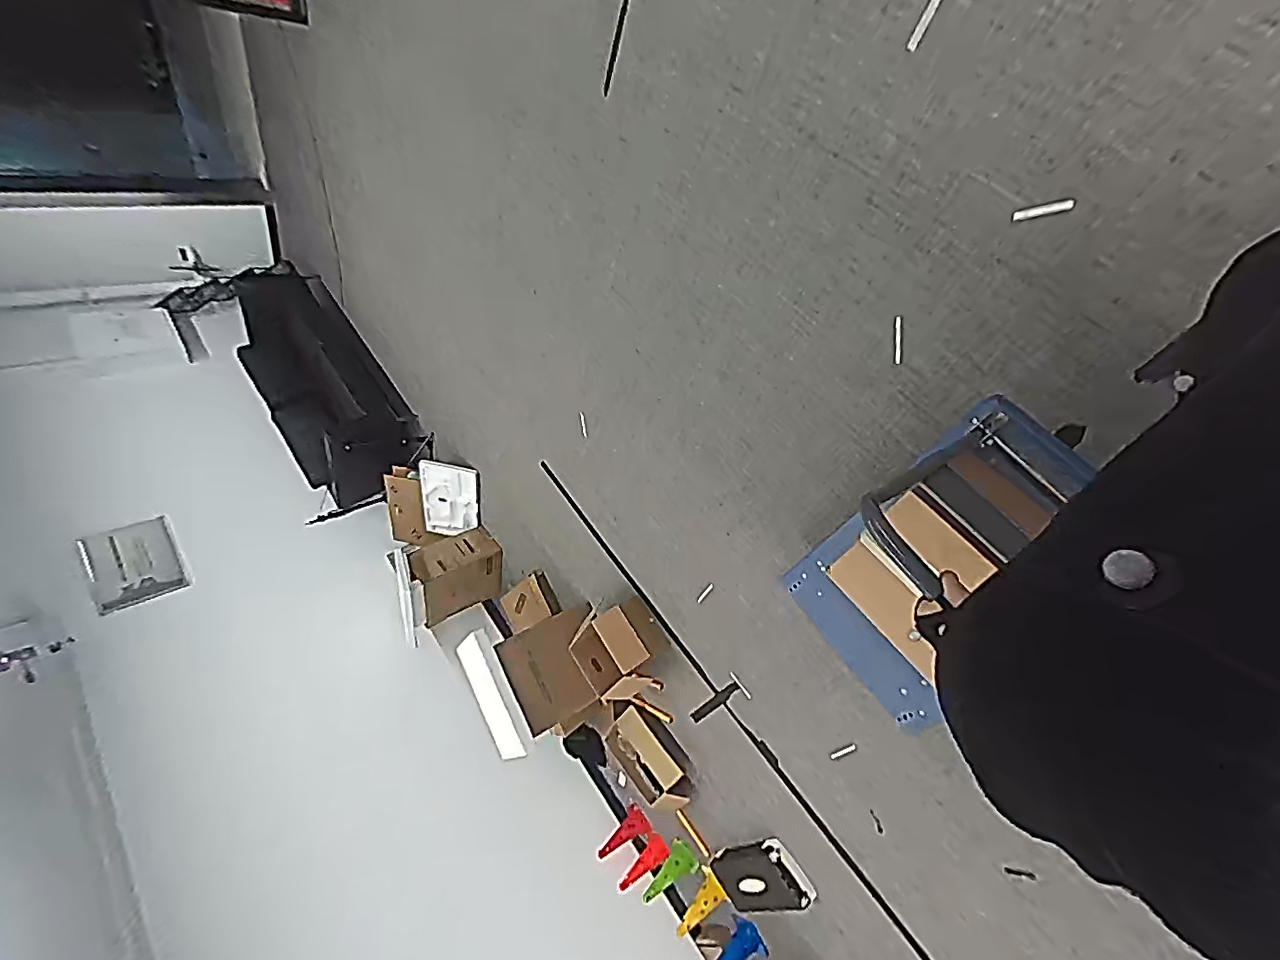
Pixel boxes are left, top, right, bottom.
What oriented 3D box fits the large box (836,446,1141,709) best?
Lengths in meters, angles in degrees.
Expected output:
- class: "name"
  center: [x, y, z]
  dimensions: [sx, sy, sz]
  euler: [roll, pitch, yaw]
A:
- class: "large box"
  center: [0.734, 0.196, 1.175]
  dimensions: [0.408, 0.320, 0.320]
  euler: [50, 139, 24]
